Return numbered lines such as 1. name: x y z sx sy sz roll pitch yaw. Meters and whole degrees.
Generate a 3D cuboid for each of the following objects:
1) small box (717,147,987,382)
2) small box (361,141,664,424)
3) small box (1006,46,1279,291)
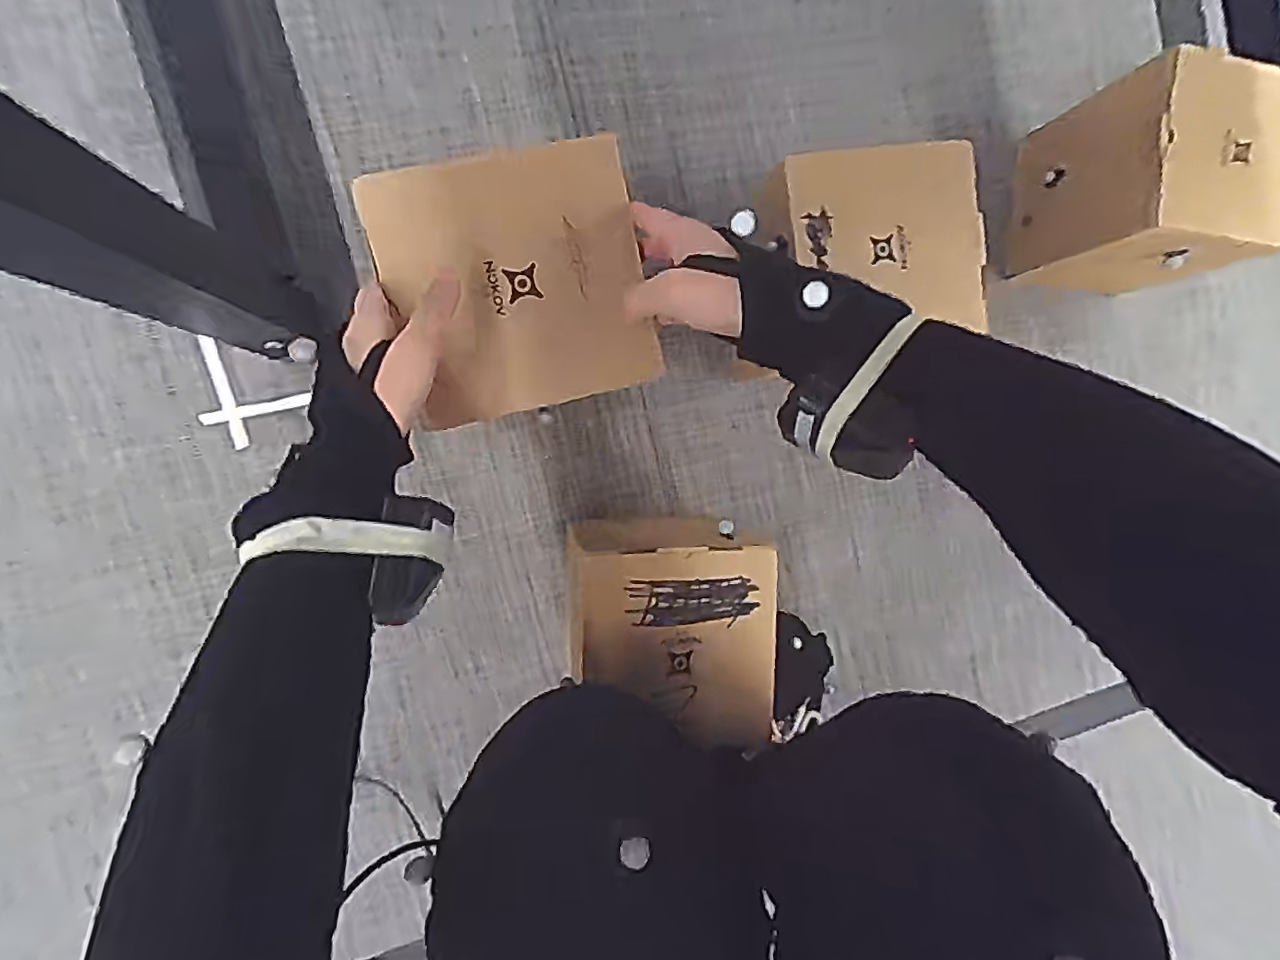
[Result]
1. small box: 0.193 -0.194 0.527 0.179 0.176 0.168 -10 96 -10
2. small box: -0.091 -0.141 0.442 0.179 0.176 0.168 -12 100 -7
3. small box: 0.548 -0.314 0.587 0.179 0.176 0.168 2 94 -10
